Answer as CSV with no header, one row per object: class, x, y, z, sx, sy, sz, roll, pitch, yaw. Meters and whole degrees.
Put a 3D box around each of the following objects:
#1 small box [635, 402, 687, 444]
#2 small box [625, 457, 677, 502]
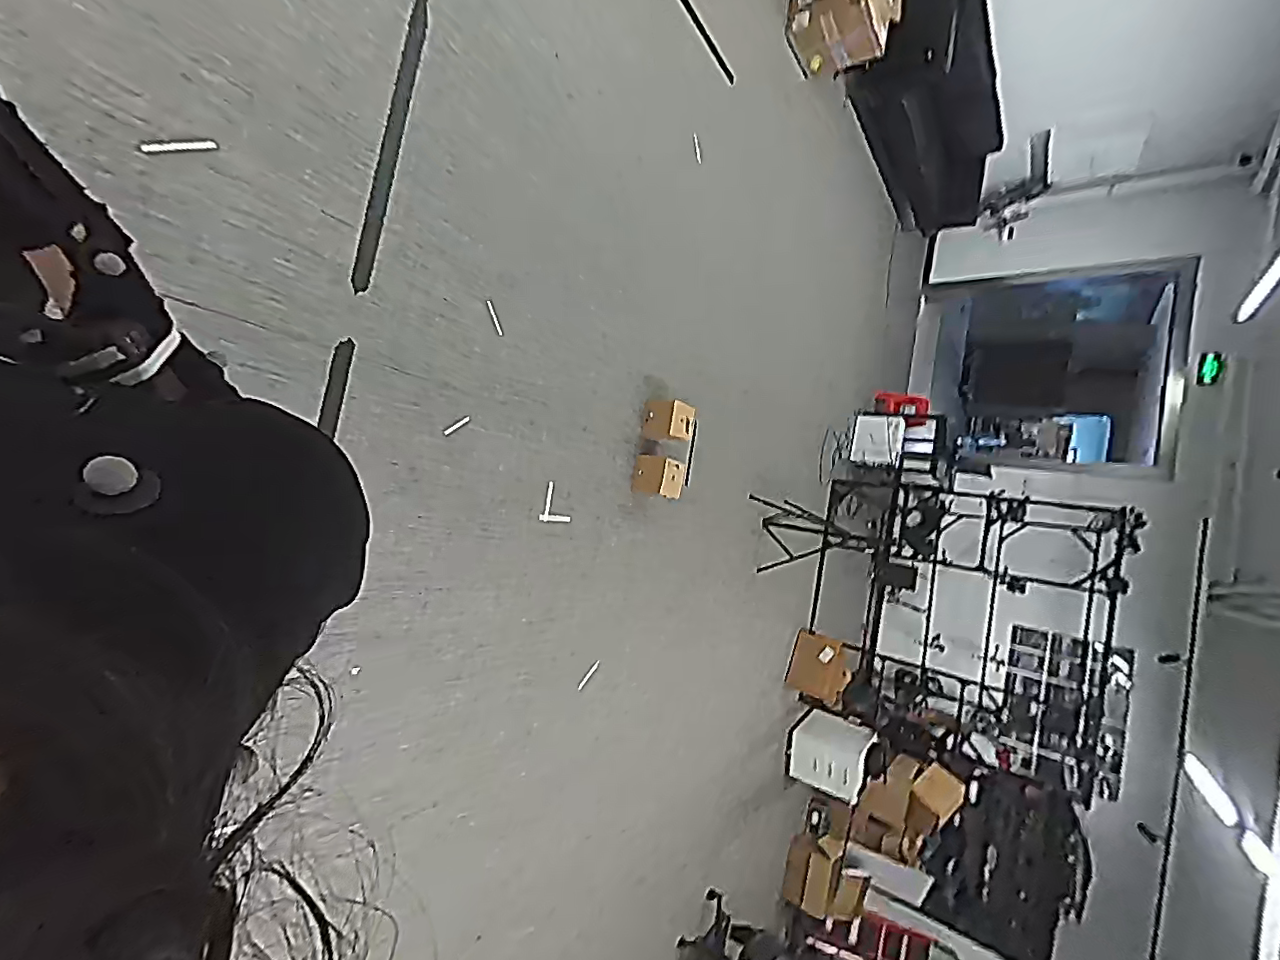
small box,0.099,-0.274,2.590,0.179,0.176,0.168,13,85,-53
small box,0.050,-0.002,2.575,0.168,0.176,0.179,19,81,-53
